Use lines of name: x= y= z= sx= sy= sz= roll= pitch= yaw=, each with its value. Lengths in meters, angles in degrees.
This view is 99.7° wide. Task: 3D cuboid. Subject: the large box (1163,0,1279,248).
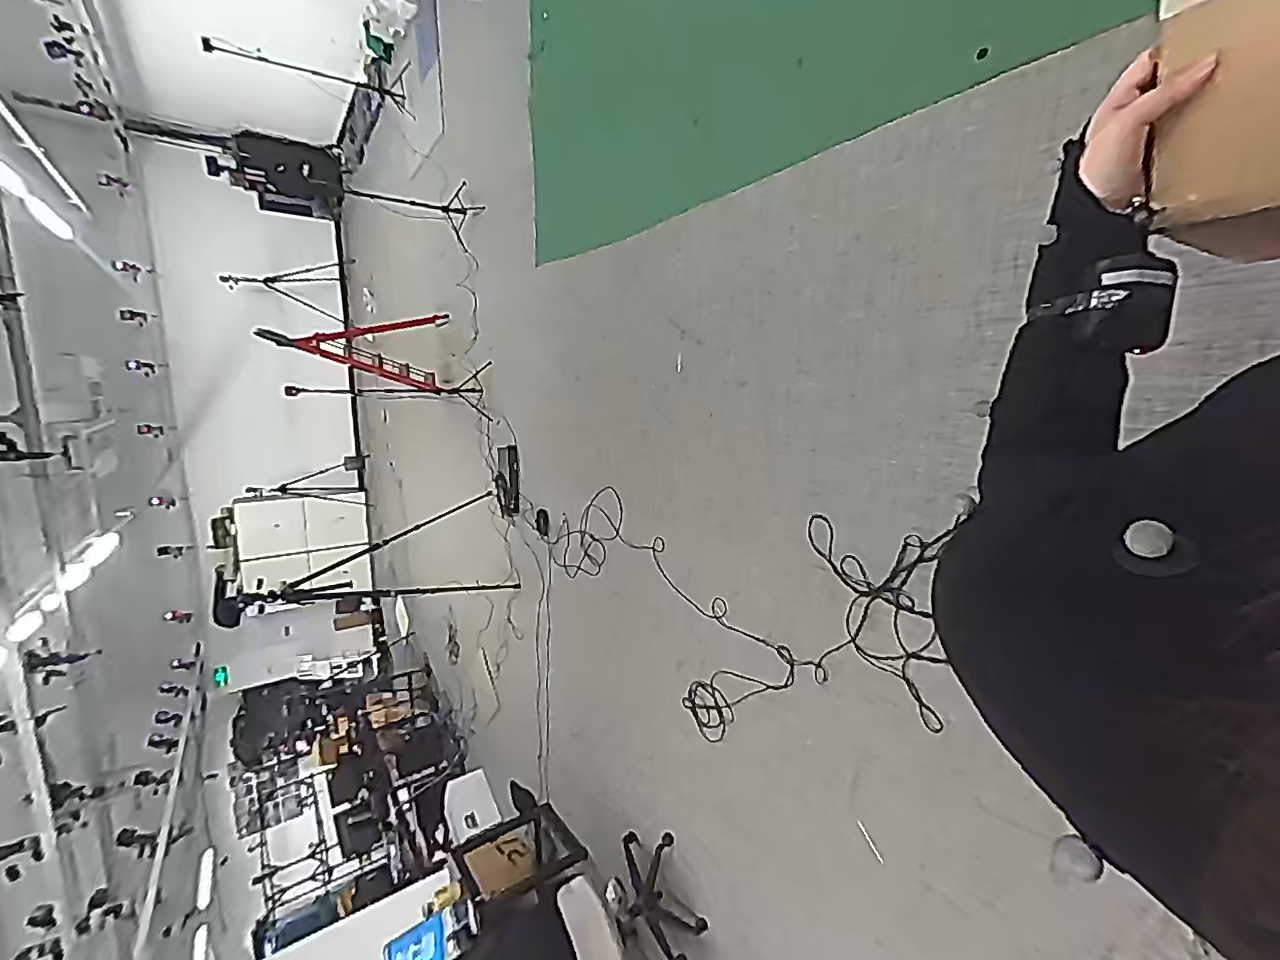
large box: x=0.627 y=-0.354 z=0.309 sx=0.408 sy=0.320 sz=0.320 roll=9 pitch=105 yaw=58
